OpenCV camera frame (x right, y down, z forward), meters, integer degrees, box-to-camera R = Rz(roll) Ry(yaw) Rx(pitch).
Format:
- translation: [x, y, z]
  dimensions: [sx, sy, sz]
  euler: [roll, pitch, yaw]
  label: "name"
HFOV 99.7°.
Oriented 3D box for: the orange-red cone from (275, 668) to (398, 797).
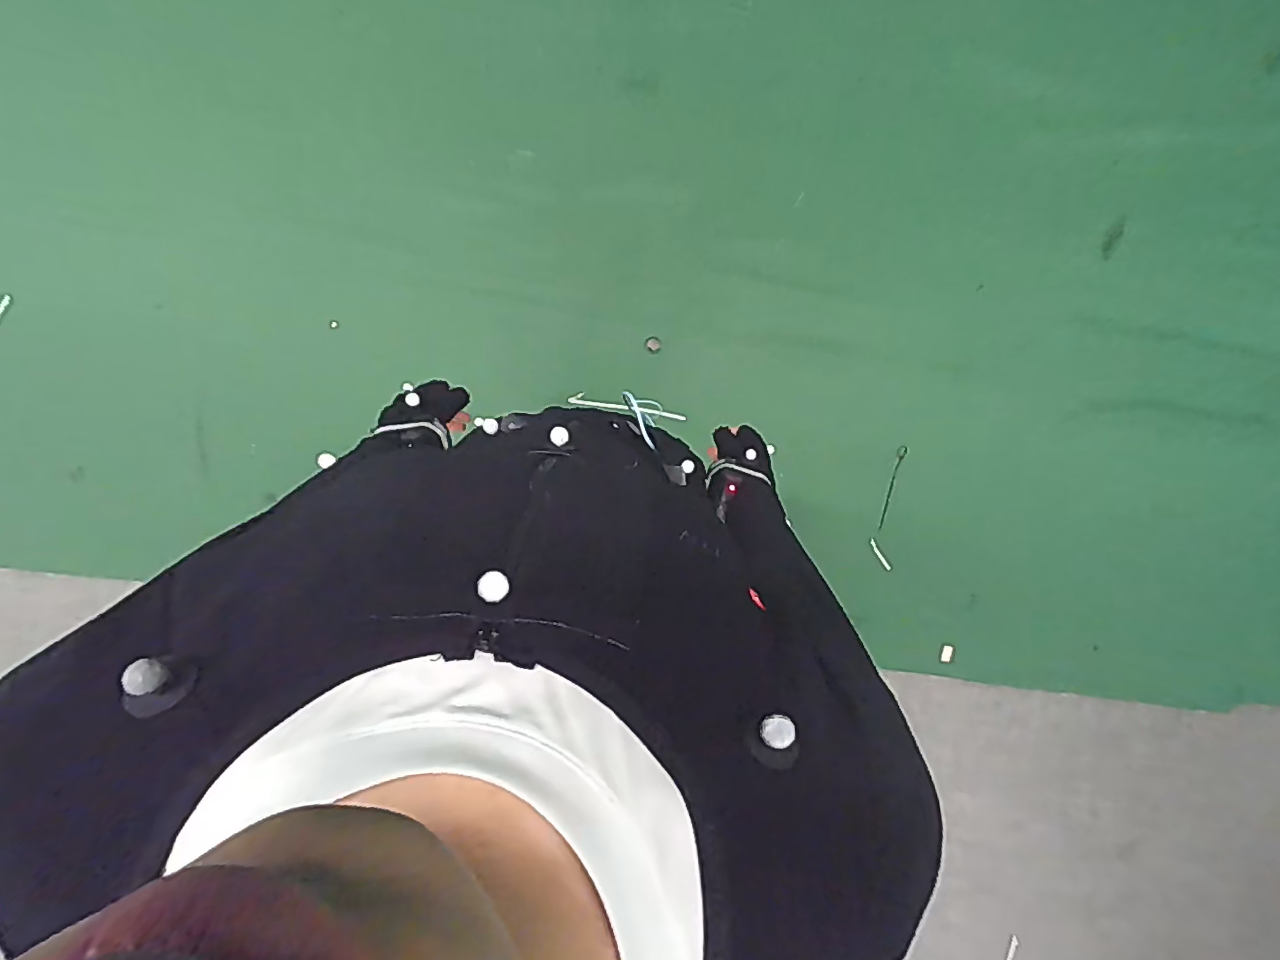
- translation: [-0.793, 0.664, 1.373]
  dimensions: [0.198, 0.360, 0.199]
  euler: [8, 98, -2]
  label: "orange-red cone"
